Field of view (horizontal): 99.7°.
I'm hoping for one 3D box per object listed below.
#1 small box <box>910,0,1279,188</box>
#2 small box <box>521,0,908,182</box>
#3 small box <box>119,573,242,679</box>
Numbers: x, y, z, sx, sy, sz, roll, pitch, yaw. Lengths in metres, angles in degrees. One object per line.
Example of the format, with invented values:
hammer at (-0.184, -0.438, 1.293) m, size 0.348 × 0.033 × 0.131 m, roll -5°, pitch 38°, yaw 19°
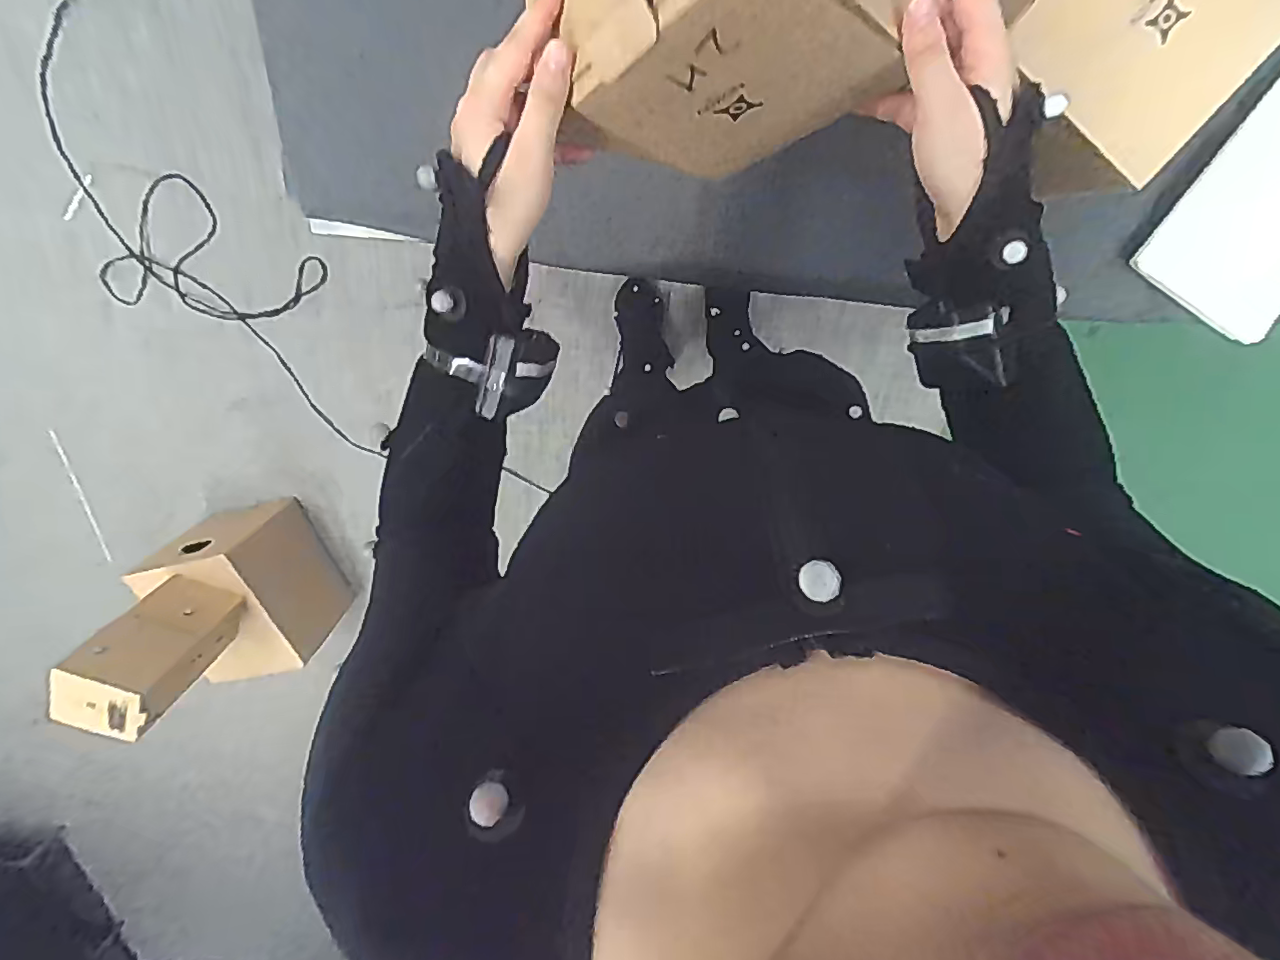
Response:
small box at (0.382, -0.381, 0.467) m, size 0.179 × 0.176 × 0.168 m, roll 32°, pitch 112°, yaw -12°
small box at (0.042, -0.321, 0.327) m, size 0.168 × 0.179 × 0.176 m, roll -4°, pitch 92°, yaw 48°
small box at (-1.150, 0.362, 1.364) m, size 0.179 × 0.176 × 0.168 m, roll 24°, pitch 114°, yaw -12°
